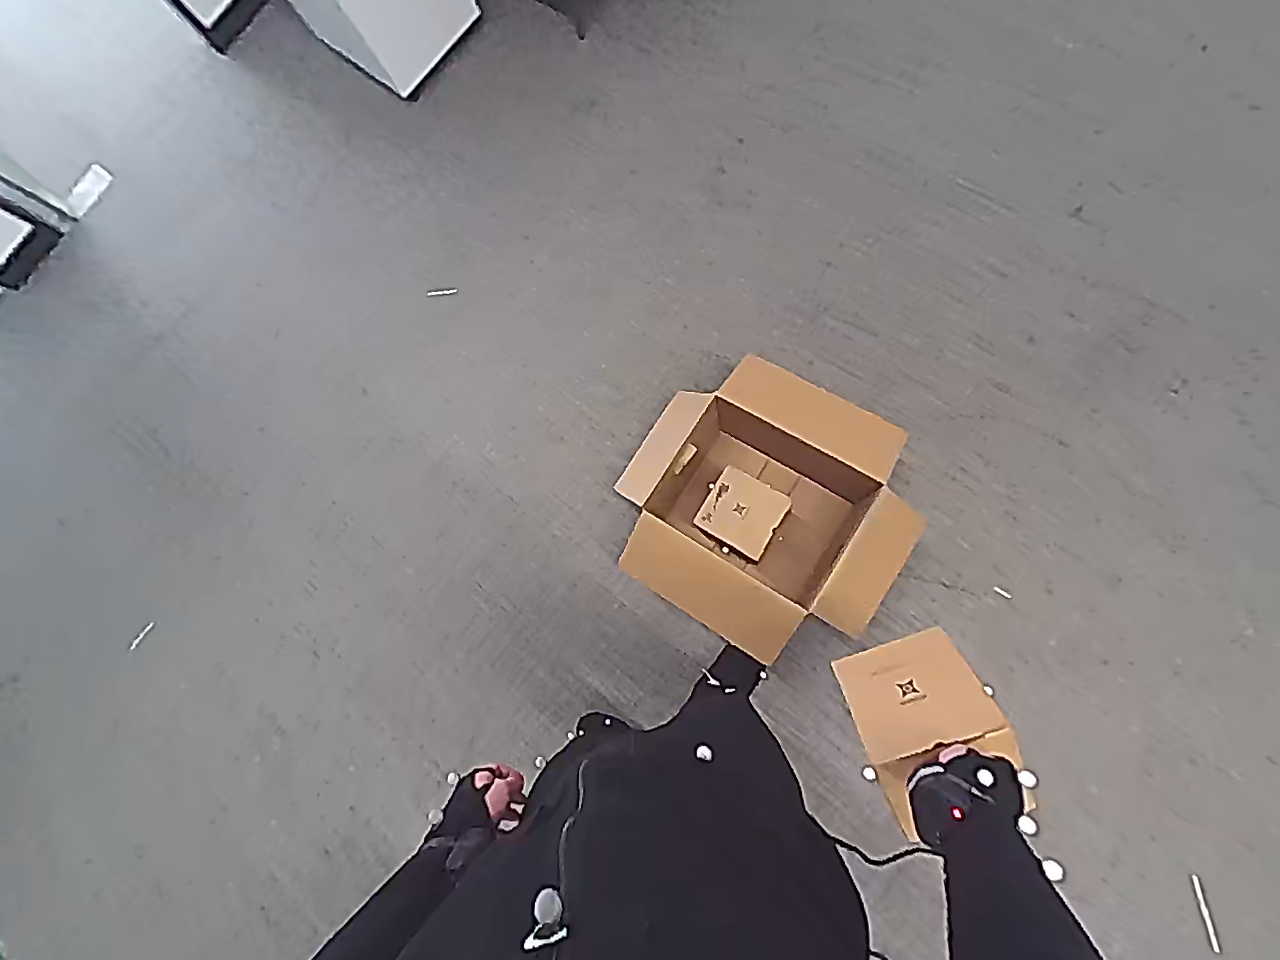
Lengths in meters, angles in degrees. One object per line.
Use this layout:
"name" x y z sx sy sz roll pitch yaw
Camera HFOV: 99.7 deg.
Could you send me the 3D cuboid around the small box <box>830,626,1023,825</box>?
"small box" 0.390 0.342 0.747 0.168 0.179 0.176 -23 112 12
